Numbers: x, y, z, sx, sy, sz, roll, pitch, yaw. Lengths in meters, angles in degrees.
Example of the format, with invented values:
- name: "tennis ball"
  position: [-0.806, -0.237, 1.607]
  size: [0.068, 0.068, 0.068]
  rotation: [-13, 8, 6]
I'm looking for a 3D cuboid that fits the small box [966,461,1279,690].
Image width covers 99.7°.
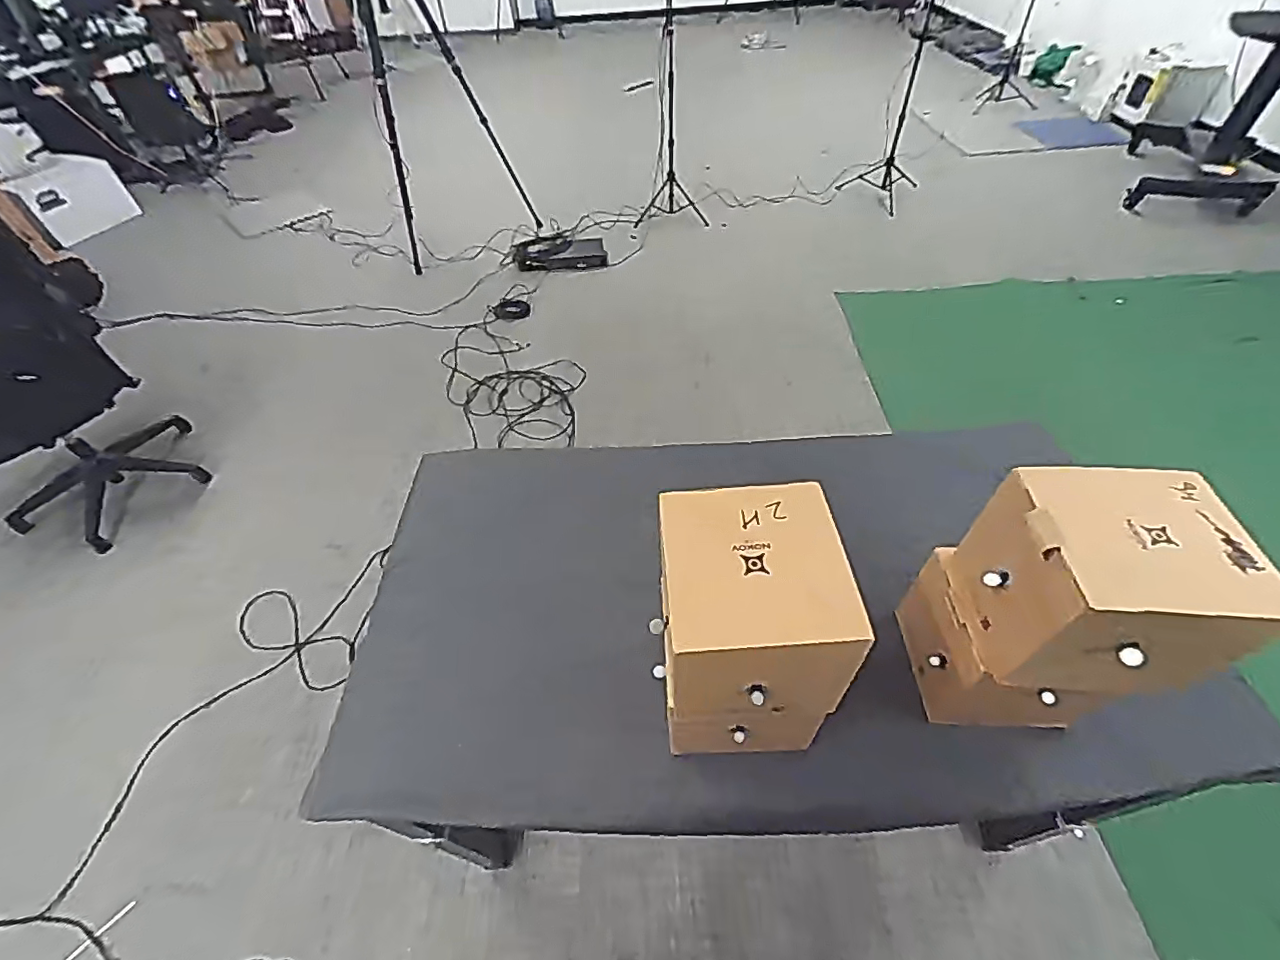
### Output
- name: "small box"
  position: [0.458, 0.098, 0.543]
  size: [0.179, 0.176, 0.168]
  rotation: [2, 49, 6]

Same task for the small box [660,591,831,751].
- name: "small box"
  position: [0.116, 0.224, 0.671]
  size: [0.179, 0.176, 0.168]
  rotation: [-3, 48, 3]

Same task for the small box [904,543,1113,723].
- name: "small box"
  position: [0.454, 0.194, 0.677]
  size: [0.179, 0.176, 0.168]
  rotation: [0, 49, 3]

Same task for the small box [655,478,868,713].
- name: "small box"
  position: [0.104, 0.121, 0.543]
  size: [0.168, 0.176, 0.179]
  rotation: [-4, 47, 1]
